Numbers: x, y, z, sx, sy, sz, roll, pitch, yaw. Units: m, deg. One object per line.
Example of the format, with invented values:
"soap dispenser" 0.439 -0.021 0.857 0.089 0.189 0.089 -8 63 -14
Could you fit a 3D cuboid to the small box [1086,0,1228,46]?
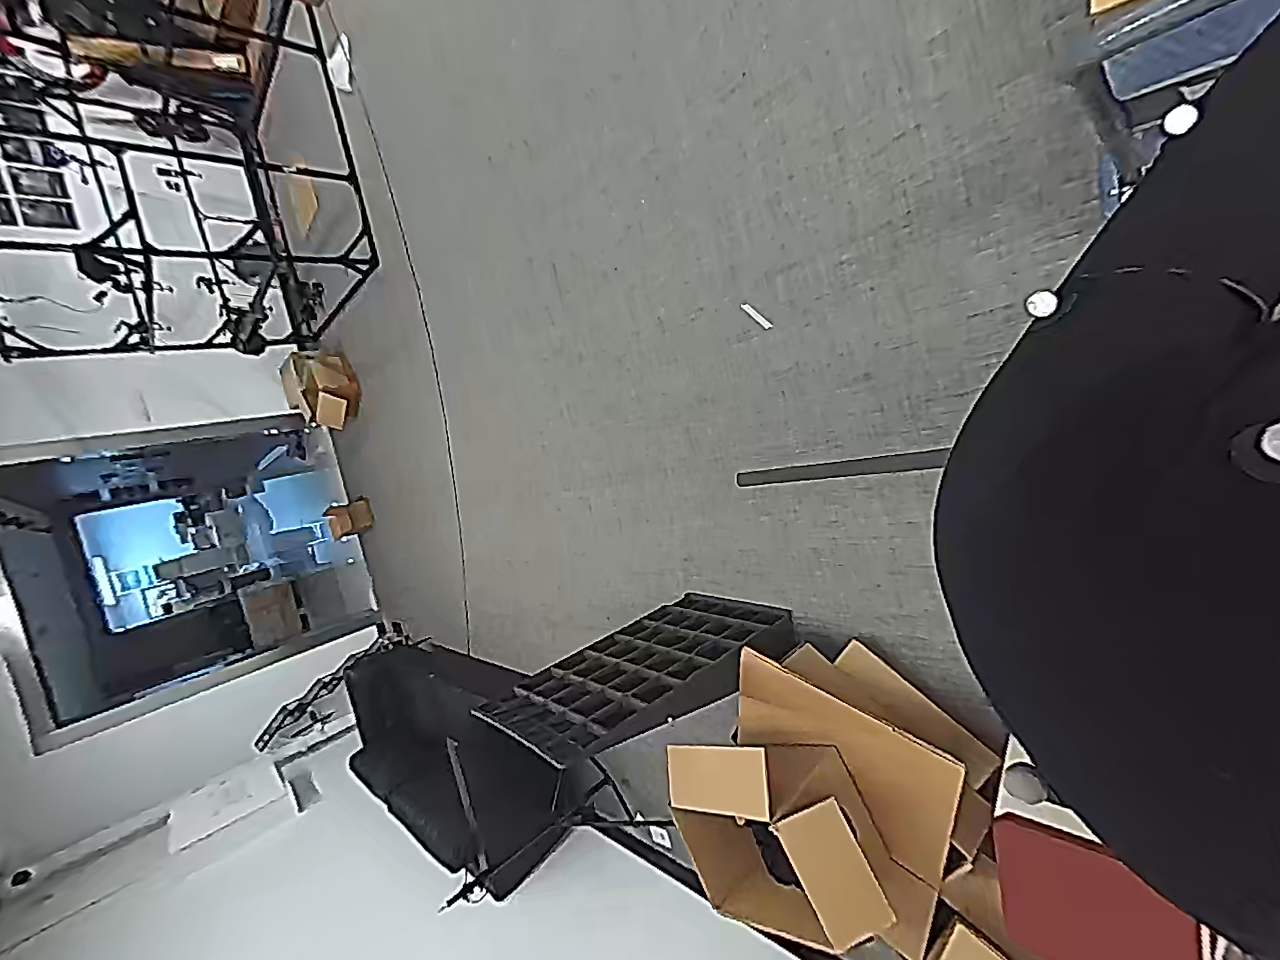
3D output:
"small box" 0.780 -0.787 0.791 0.179 0.176 0.168 4 105 45
